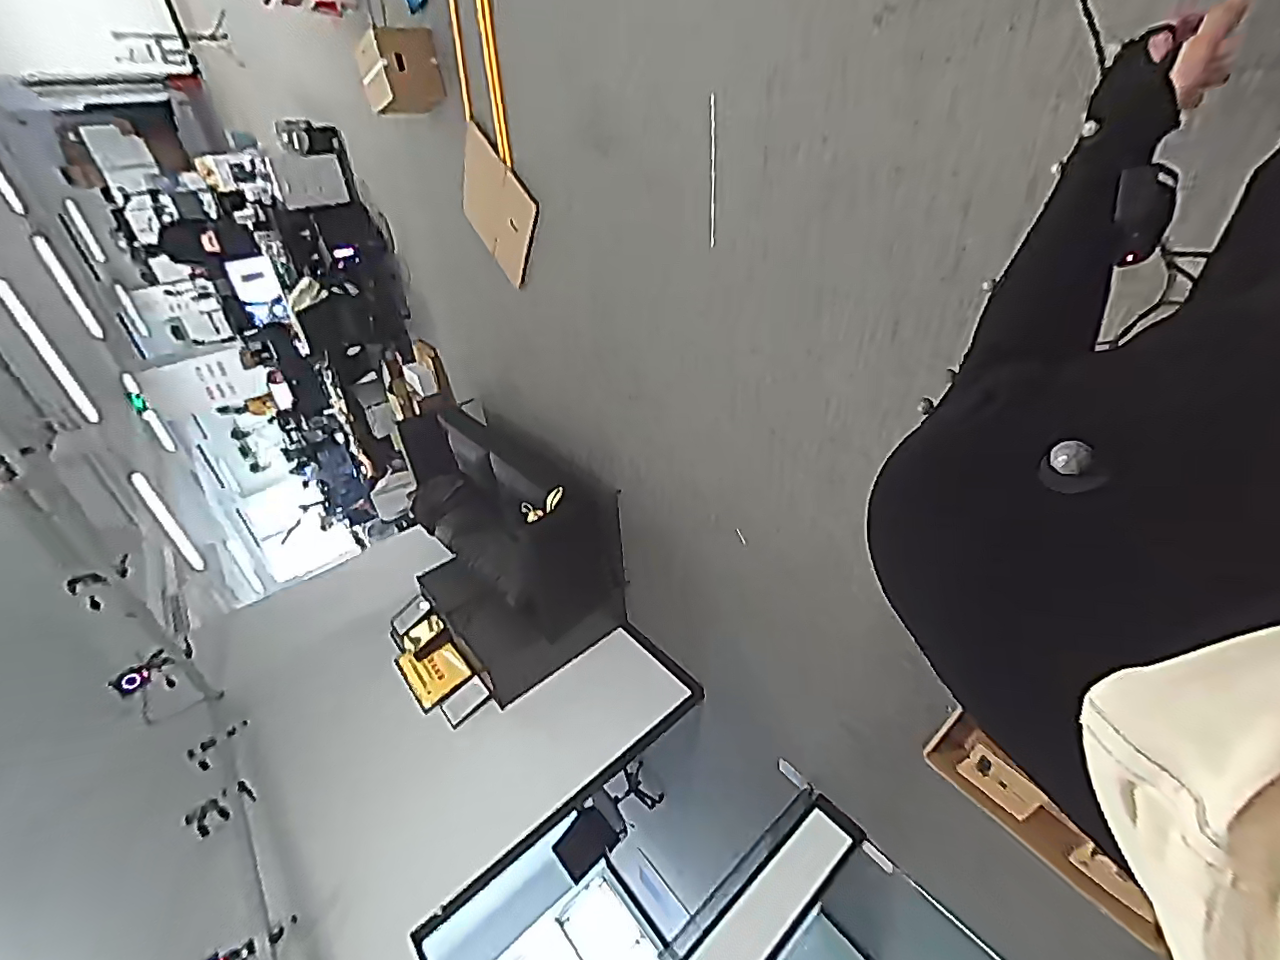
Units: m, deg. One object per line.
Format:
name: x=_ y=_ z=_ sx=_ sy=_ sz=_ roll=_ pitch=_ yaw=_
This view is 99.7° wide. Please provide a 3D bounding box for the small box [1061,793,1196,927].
small box: x=1.175 y=0.907 z=1.300 sx=0.179 sy=0.176 sz=0.168 roll=34 pitch=139 yaw=37
